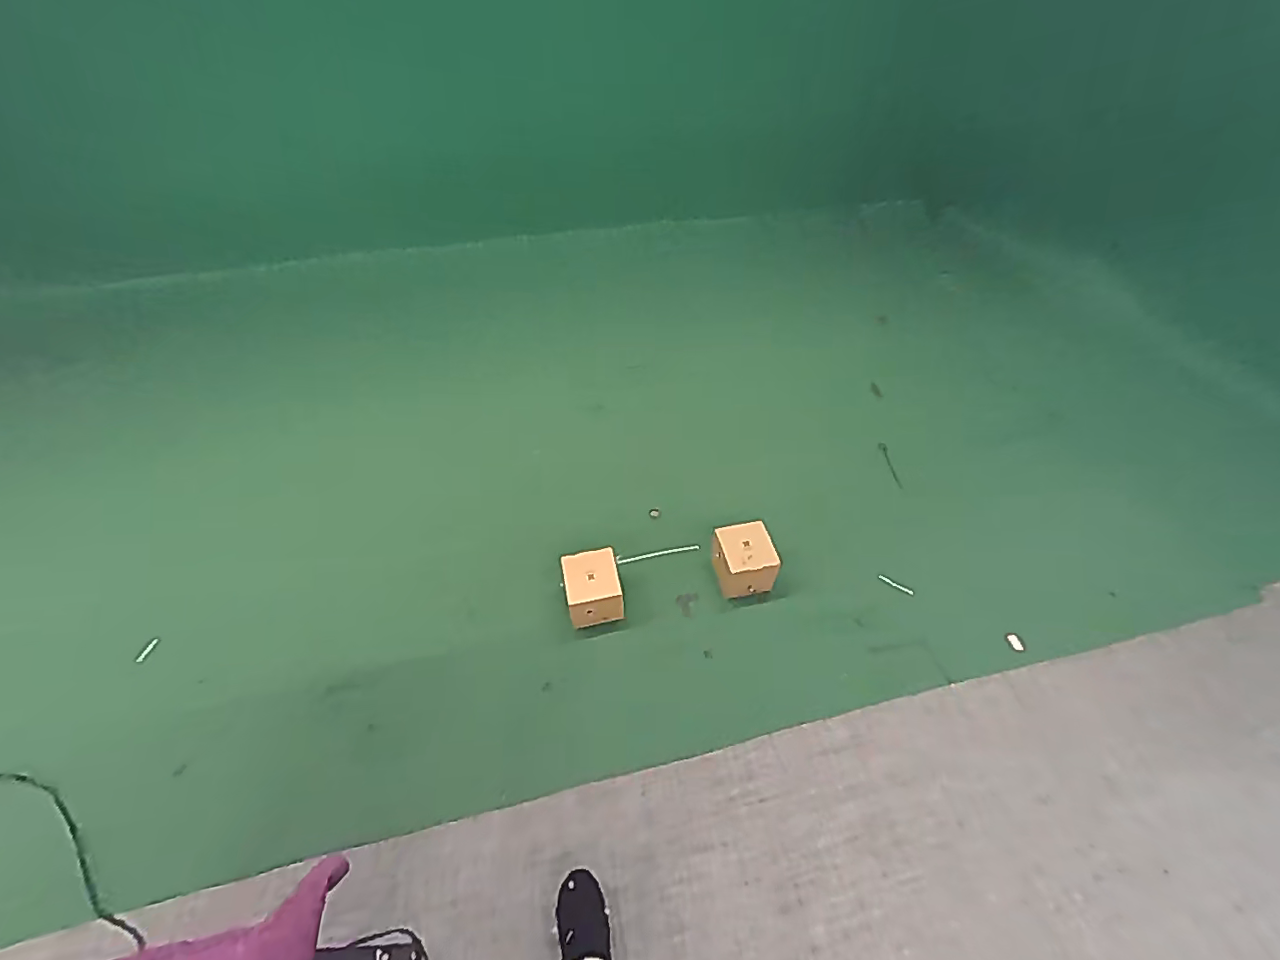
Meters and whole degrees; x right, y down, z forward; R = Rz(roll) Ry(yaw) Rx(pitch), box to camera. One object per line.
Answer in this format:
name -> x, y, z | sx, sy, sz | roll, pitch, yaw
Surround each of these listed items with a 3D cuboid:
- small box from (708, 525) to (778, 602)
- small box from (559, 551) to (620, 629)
small box -> 0.333, 0.277, 1.791 | 0.168, 0.176, 0.179 | -9, 50, -9
small box -> -0.158, 0.356, 1.714 | 0.168, 0.176, 0.179 | -10, 49, -9
